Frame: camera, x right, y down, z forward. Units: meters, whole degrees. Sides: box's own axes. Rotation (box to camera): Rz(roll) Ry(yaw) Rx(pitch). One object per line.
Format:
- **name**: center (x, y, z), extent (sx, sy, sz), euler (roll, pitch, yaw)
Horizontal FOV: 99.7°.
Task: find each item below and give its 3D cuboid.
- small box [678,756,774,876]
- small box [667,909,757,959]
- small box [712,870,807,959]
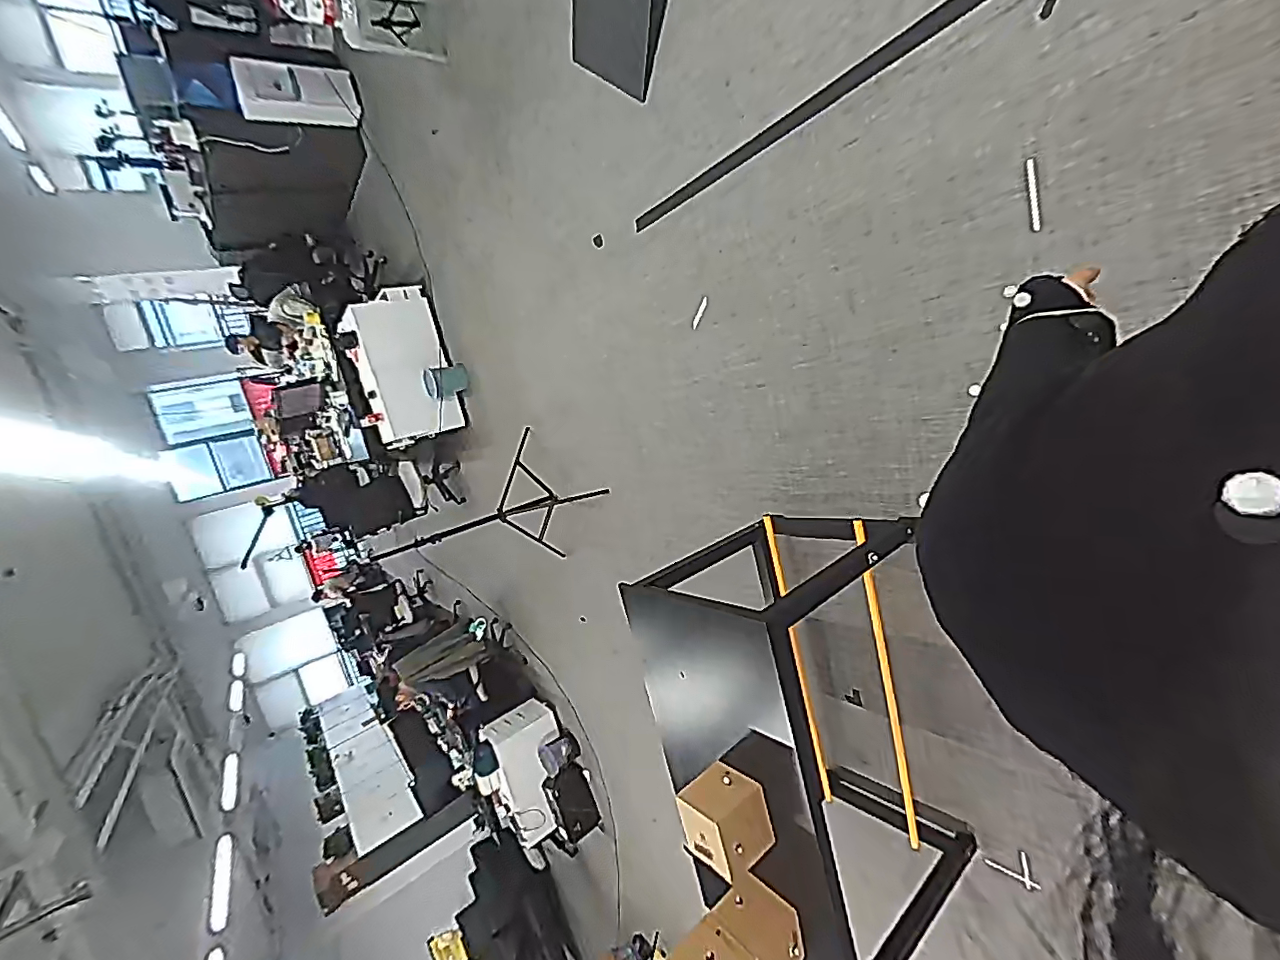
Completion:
- **small box**: center (0.233, 0.883, 1.439), extent (0.168, 0.176, 0.179), euler (-3, 104, 55)
- **small box**: center (0.200, 1.285, 1.407), extent (0.168, 0.176, 0.179), euler (4, 112, 54)
- **small box**: center (0.331, 1.230, 1.492), extent (0.179, 0.176, 0.168), euler (3, 111, 53)
